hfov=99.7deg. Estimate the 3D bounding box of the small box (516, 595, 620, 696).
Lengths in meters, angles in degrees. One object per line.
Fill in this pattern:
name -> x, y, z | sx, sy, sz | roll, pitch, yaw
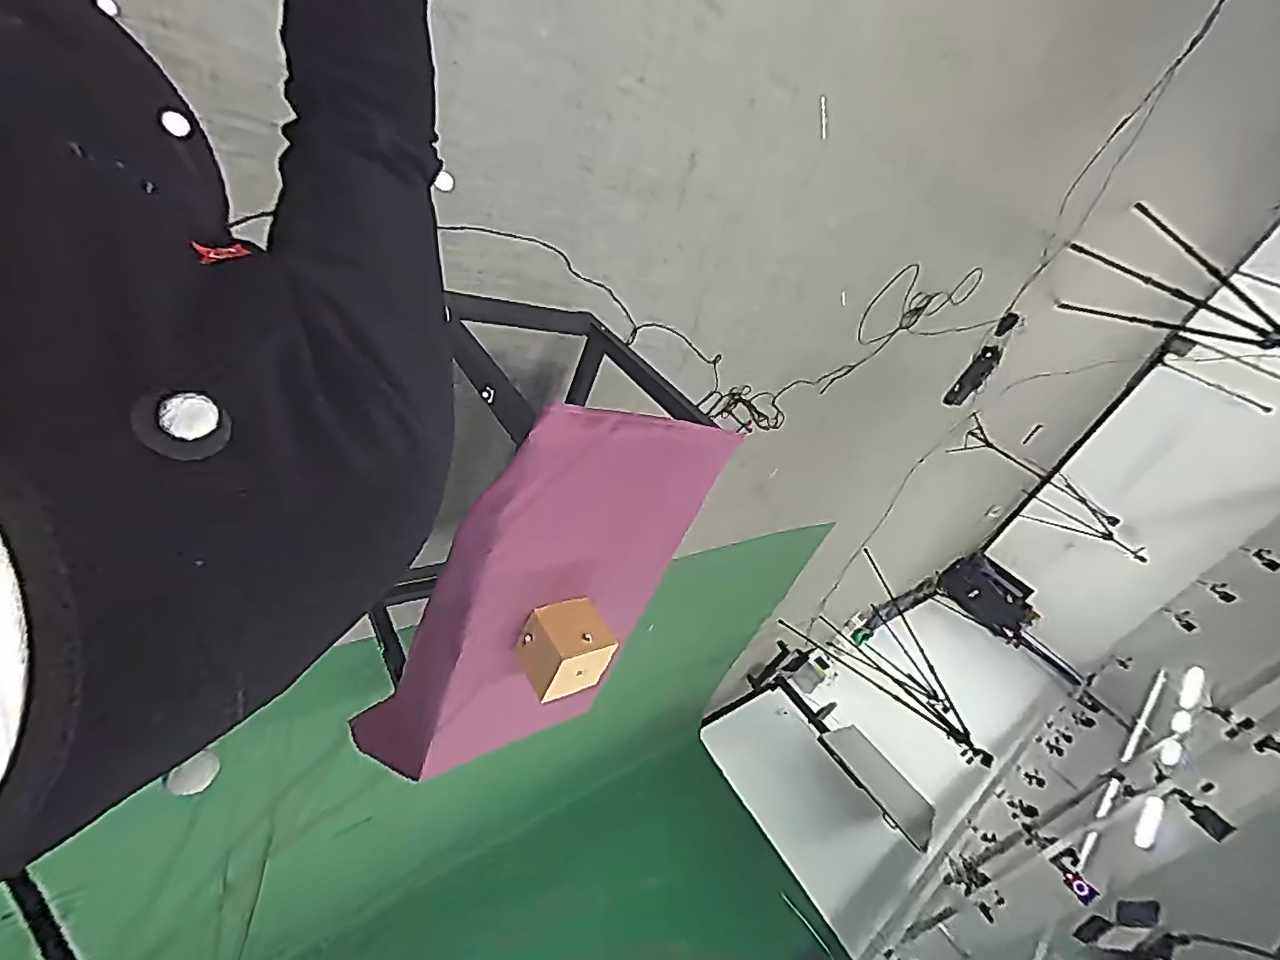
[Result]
small box -> -0.187, 0.414, 1.385 | 0.179, 0.176, 0.168 | -1, 127, -43
